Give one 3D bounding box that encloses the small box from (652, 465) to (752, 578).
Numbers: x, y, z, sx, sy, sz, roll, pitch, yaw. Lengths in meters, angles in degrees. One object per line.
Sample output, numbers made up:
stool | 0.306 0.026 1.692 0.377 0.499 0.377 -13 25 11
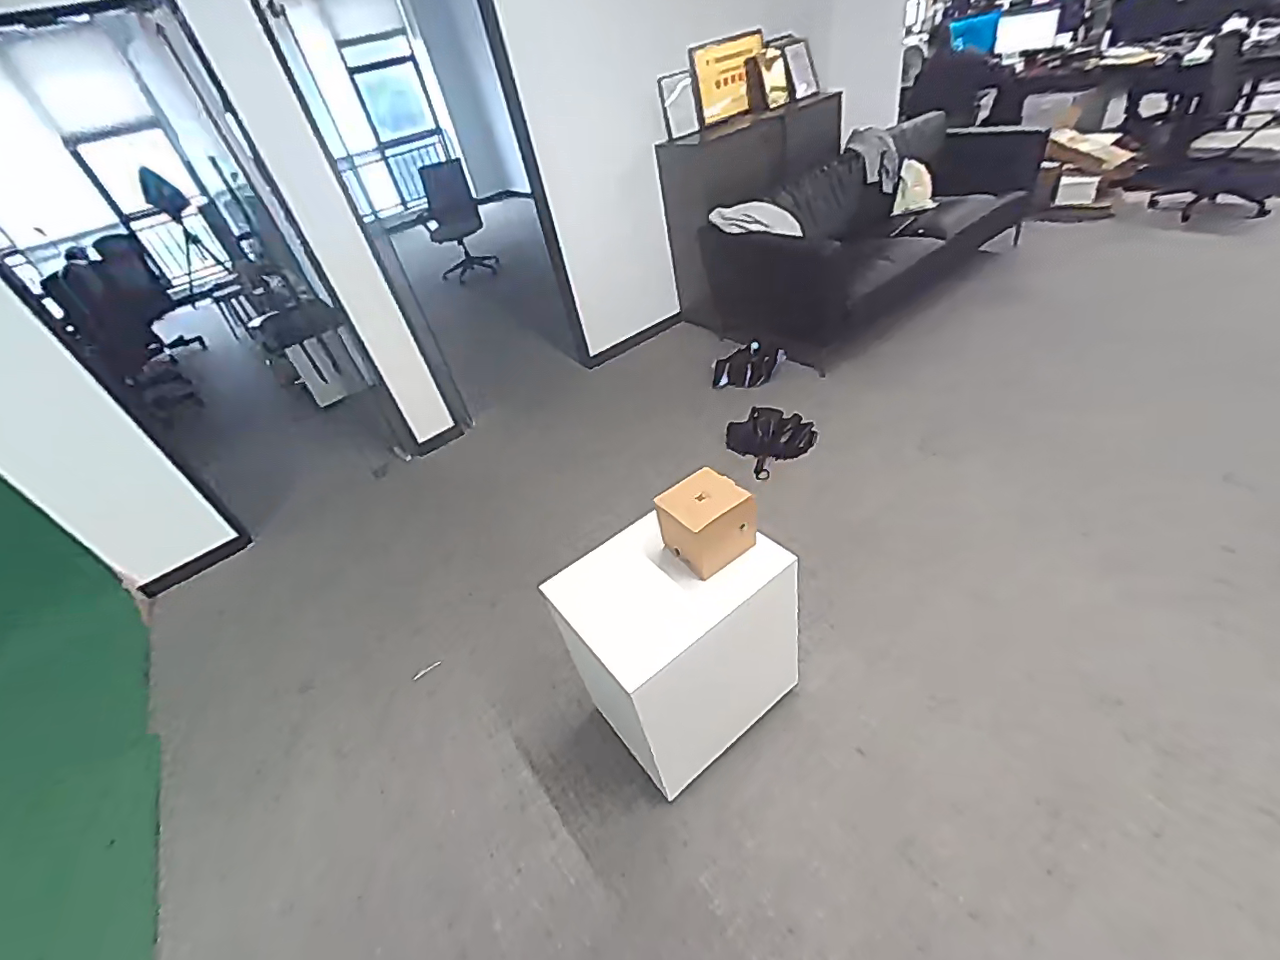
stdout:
small box | 0.156 0.100 1.311 0.179 0.176 0.168 -33 41 -20
